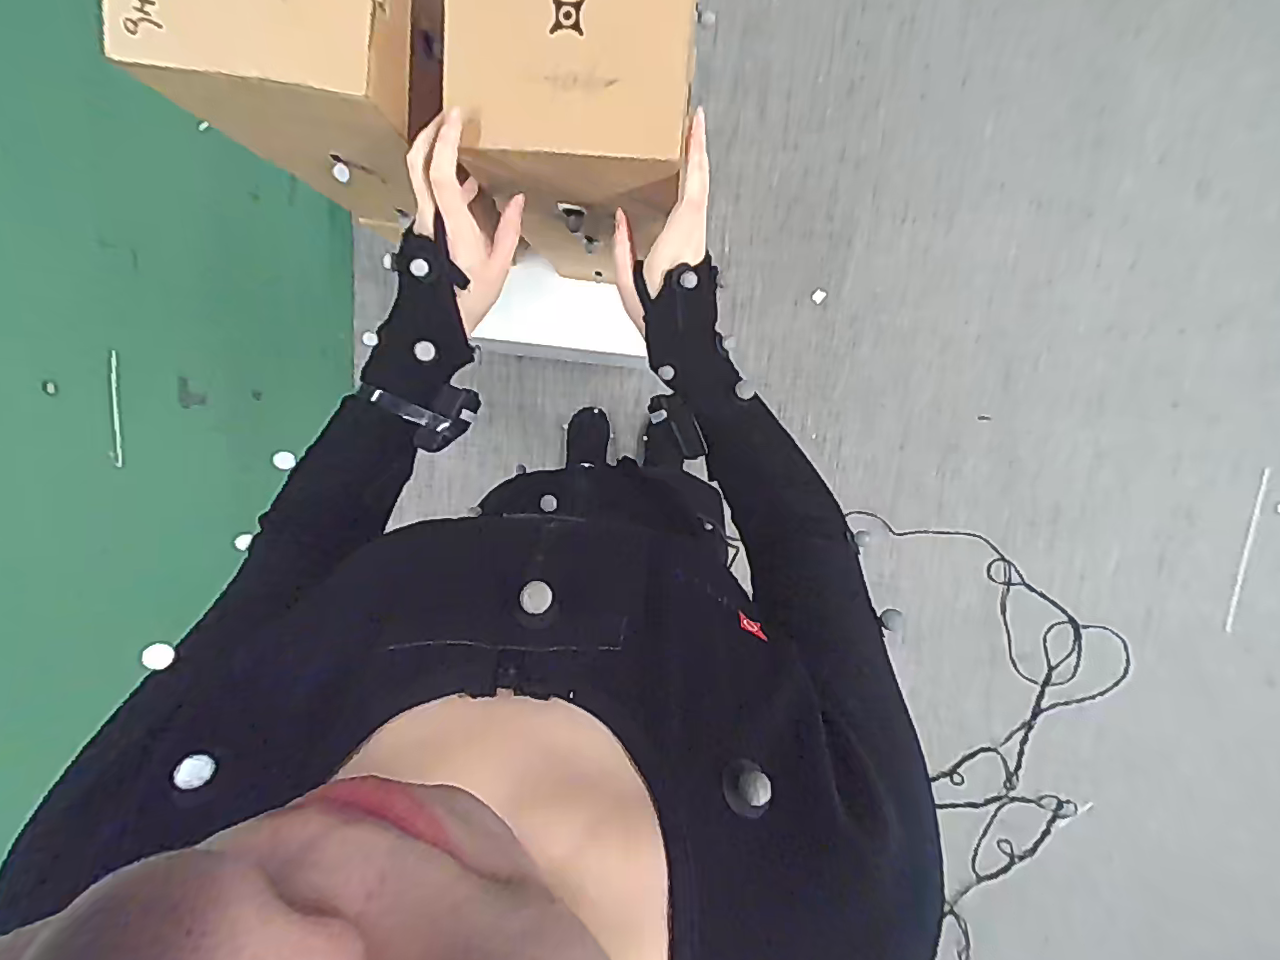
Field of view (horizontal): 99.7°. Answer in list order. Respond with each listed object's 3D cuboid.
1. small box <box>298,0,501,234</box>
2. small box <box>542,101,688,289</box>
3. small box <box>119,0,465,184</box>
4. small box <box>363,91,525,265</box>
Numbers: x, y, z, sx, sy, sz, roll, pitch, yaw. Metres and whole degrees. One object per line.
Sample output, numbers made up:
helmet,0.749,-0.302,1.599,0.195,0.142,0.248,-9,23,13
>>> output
small box,-0.256,-0.393,0.590,0.168,0.176,0.179,8,99,-2
small box,-0.032,-0.383,0.756,0.168,0.176,0.179,8,100,0
small box,-0.251,-0.358,0.429,0.179,0.176,0.168,8,99,-3
small box,-0.261,-0.416,0.752,0.168,0.176,0.179,6,100,-1
